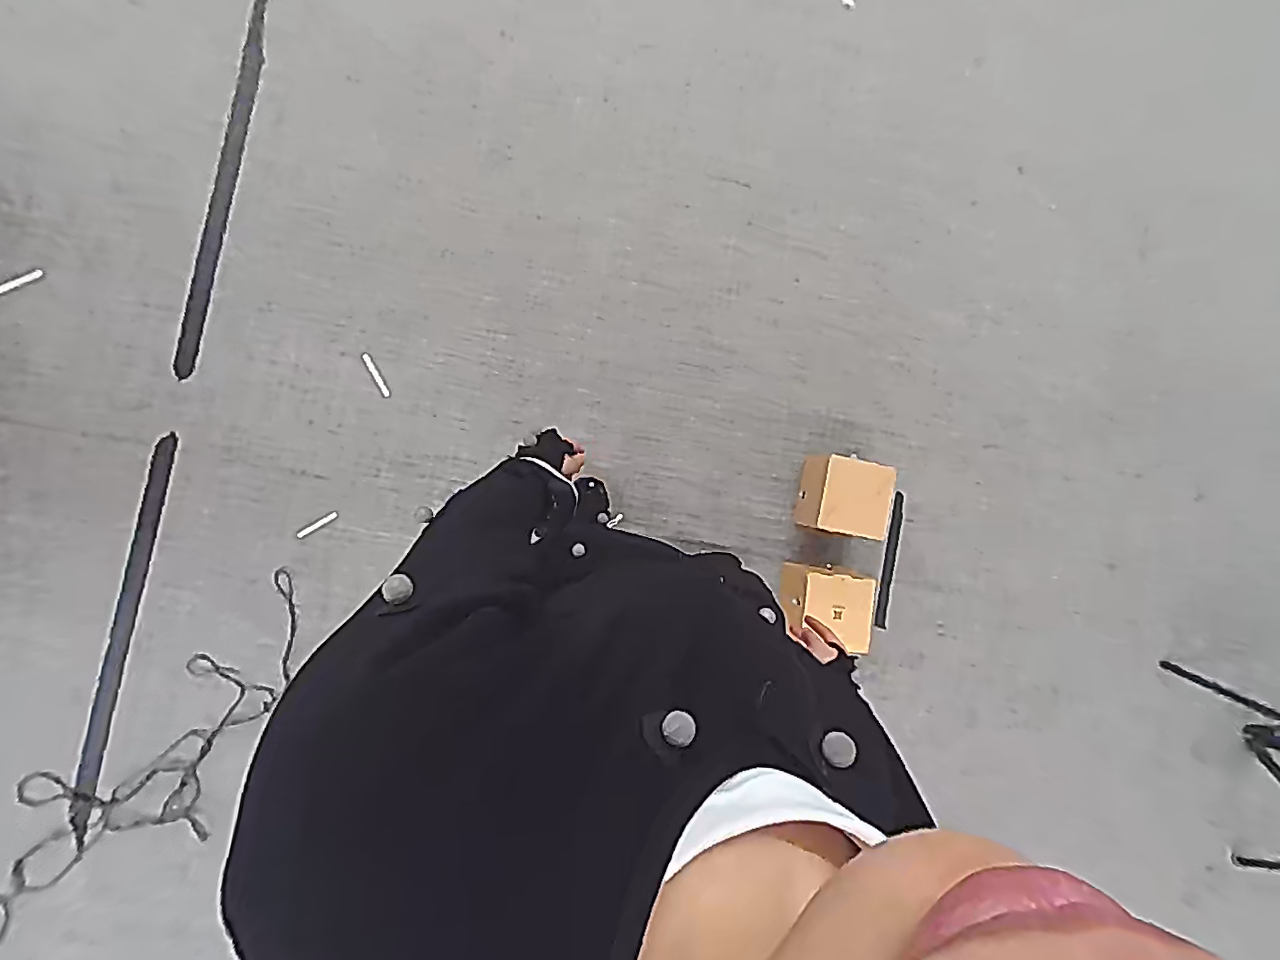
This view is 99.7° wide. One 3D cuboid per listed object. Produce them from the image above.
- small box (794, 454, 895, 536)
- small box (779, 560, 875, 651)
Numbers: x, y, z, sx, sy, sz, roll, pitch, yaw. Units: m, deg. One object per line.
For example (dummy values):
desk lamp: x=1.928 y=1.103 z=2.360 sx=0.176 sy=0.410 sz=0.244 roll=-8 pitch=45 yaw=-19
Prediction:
small box: x=0.501 y=0.038 z=1.338 sx=0.168 sy=0.176 sz=0.179 roll=12 pitch=89 yaw=-3
small box: x=0.454 y=0.305 z=1.338 sx=0.168 sy=0.176 sz=0.179 roll=7 pitch=88 yaw=-3
